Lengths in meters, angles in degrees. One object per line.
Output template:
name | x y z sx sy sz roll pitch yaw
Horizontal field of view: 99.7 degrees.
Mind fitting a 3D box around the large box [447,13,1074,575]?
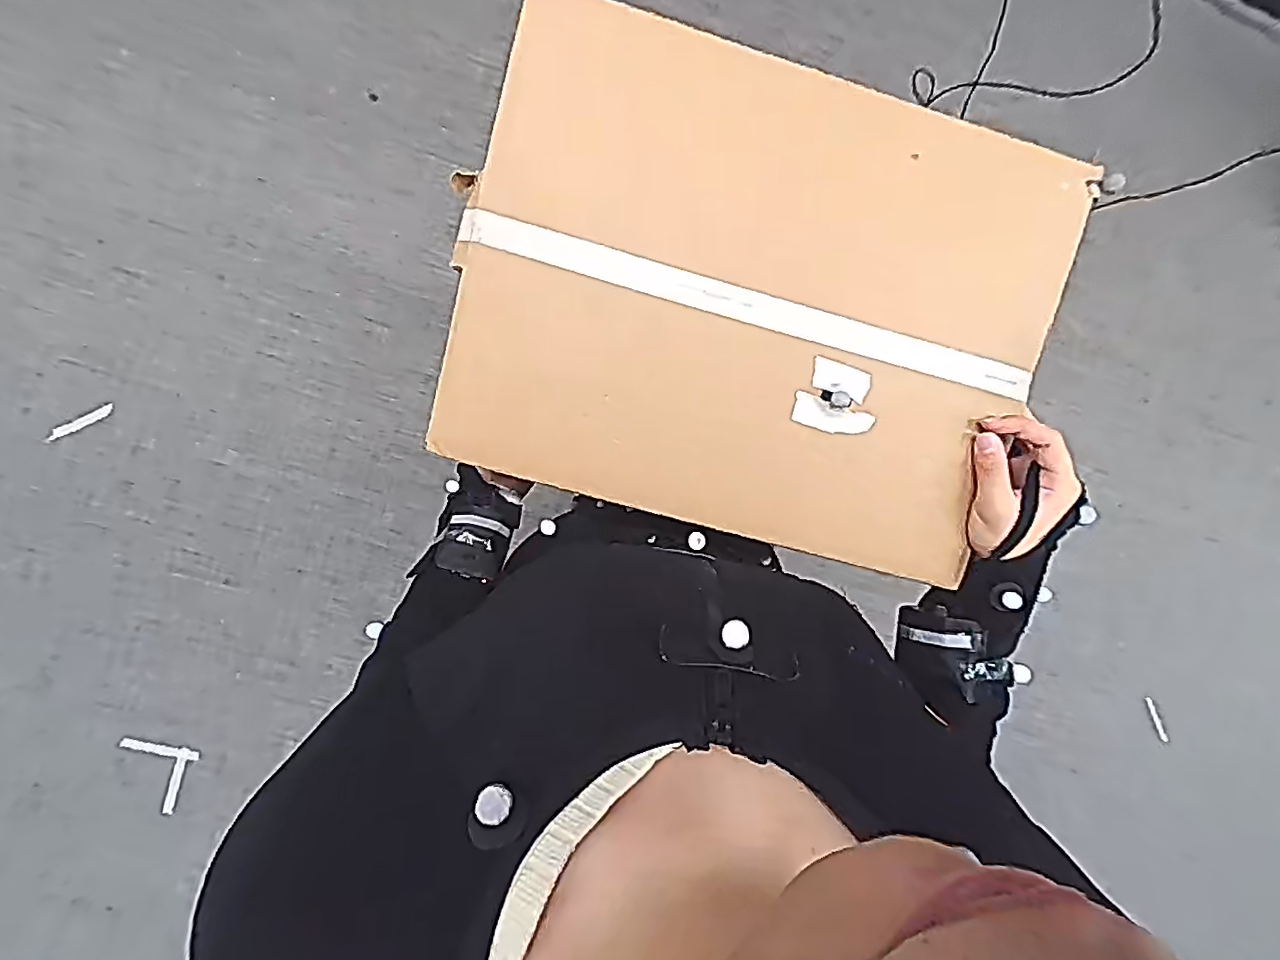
large box | 0.076 -0.134 0.532 0.408 0.320 0.320 14 97 -6
